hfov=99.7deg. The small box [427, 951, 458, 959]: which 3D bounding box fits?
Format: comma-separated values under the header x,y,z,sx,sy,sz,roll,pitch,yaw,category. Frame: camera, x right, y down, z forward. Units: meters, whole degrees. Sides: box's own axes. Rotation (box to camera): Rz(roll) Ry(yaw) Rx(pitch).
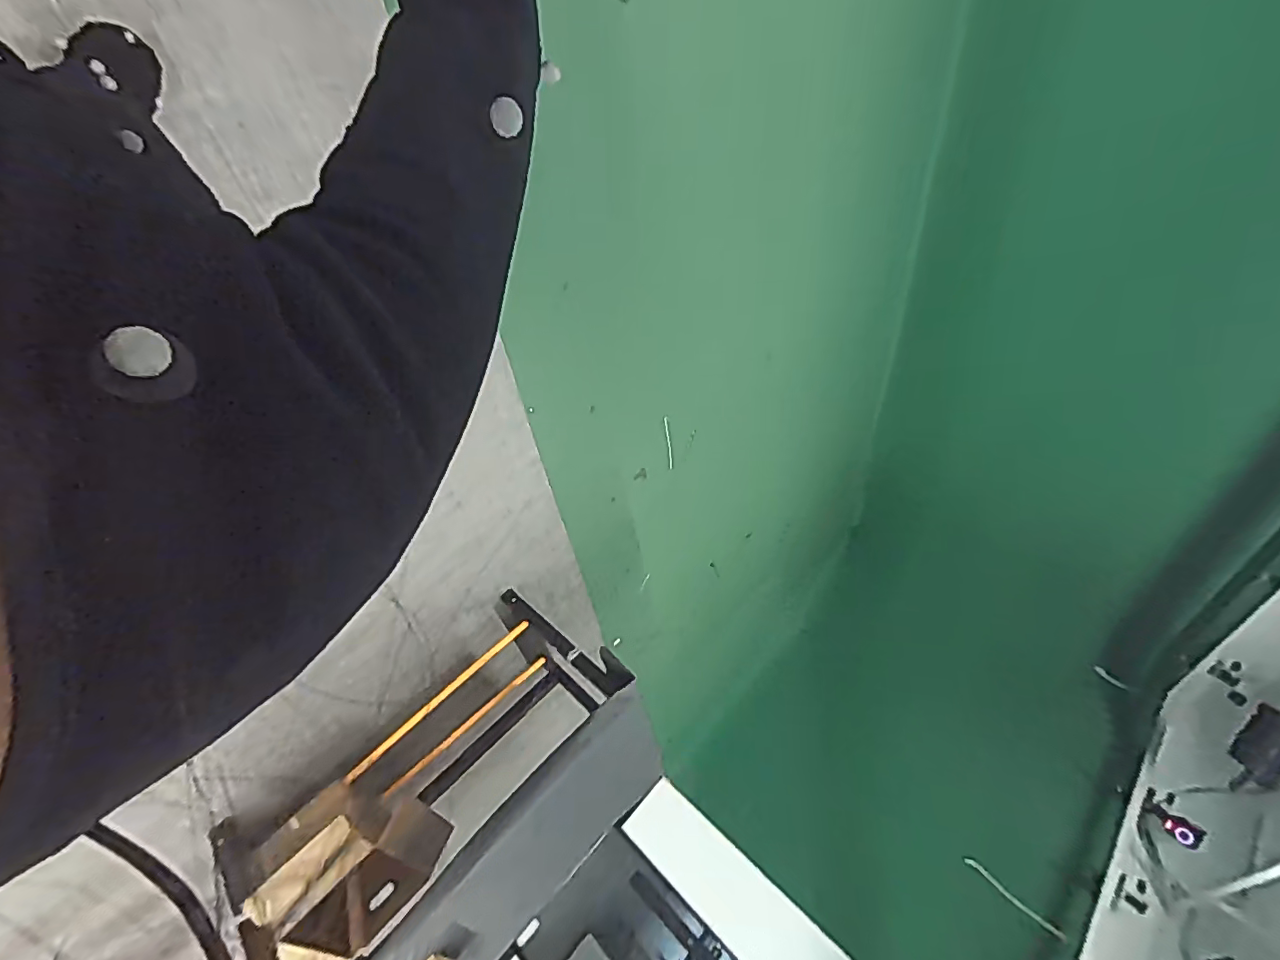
x,y,z,sx,sy,sz,roll,pitch,yaw,category
-0.555,1.440,1.472,0.168,0.176,0.179,-39,139,-28,small box
